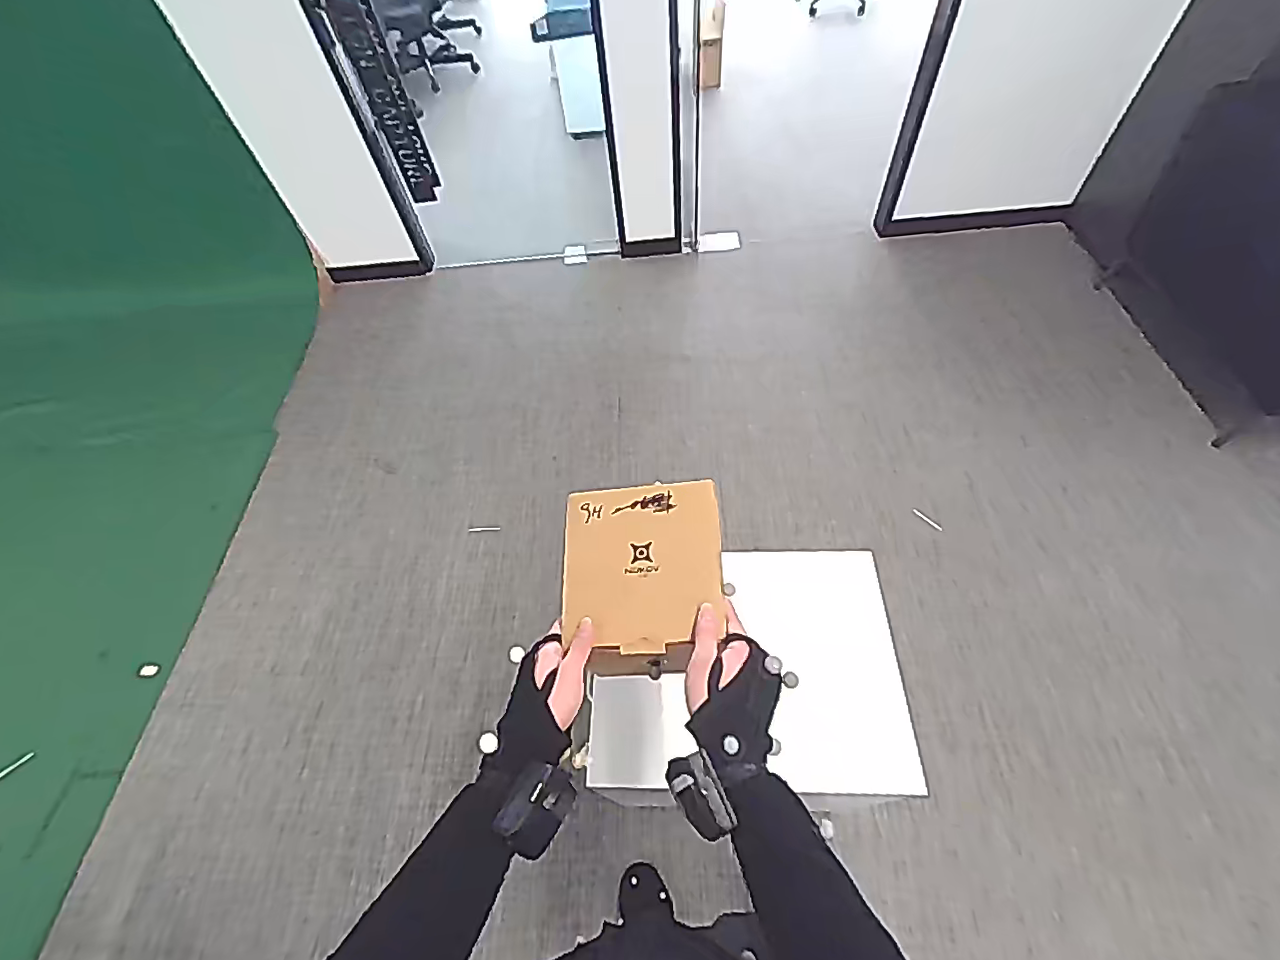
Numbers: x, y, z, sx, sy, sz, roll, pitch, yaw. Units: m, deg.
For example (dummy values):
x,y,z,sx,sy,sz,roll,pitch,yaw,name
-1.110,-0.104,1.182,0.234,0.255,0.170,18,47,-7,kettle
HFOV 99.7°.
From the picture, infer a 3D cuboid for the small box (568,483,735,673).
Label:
x,y,z,sx,sy,sz,roll,pitch,yaw,name
0.019,0.126,0.638,0.168,0.176,0.179,-8,60,7,small box
